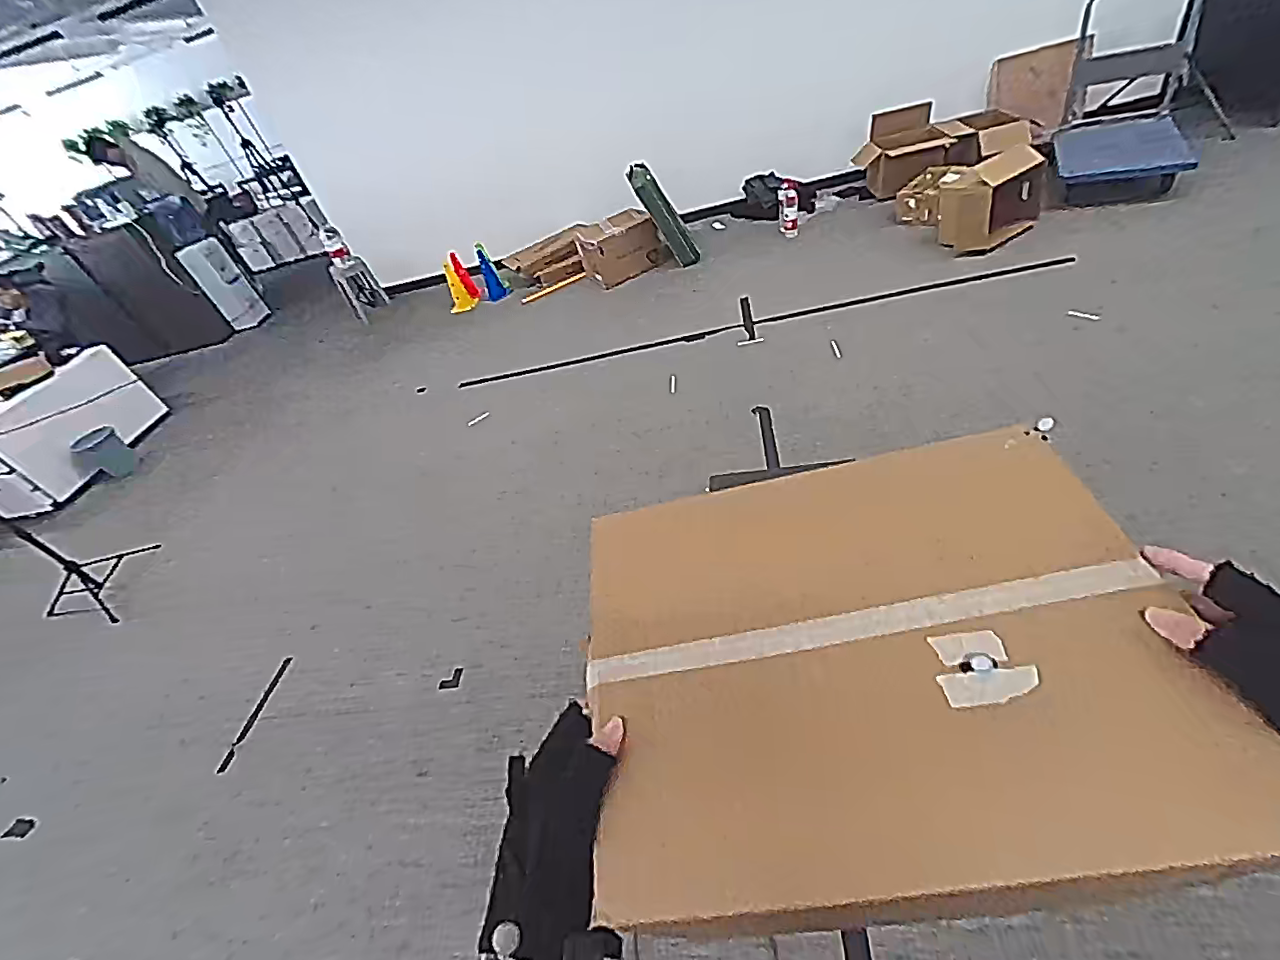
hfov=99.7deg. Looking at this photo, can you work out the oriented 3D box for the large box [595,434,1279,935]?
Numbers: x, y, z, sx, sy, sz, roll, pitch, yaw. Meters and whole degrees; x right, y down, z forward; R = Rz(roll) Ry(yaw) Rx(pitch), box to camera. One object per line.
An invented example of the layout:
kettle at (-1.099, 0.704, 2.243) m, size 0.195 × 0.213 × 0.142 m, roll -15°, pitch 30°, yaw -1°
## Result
large box at (0.193, 0.210, 0.521) m, size 0.408 × 0.320 × 0.320 m, roll -13°, pitch 47°, yaw 8°
